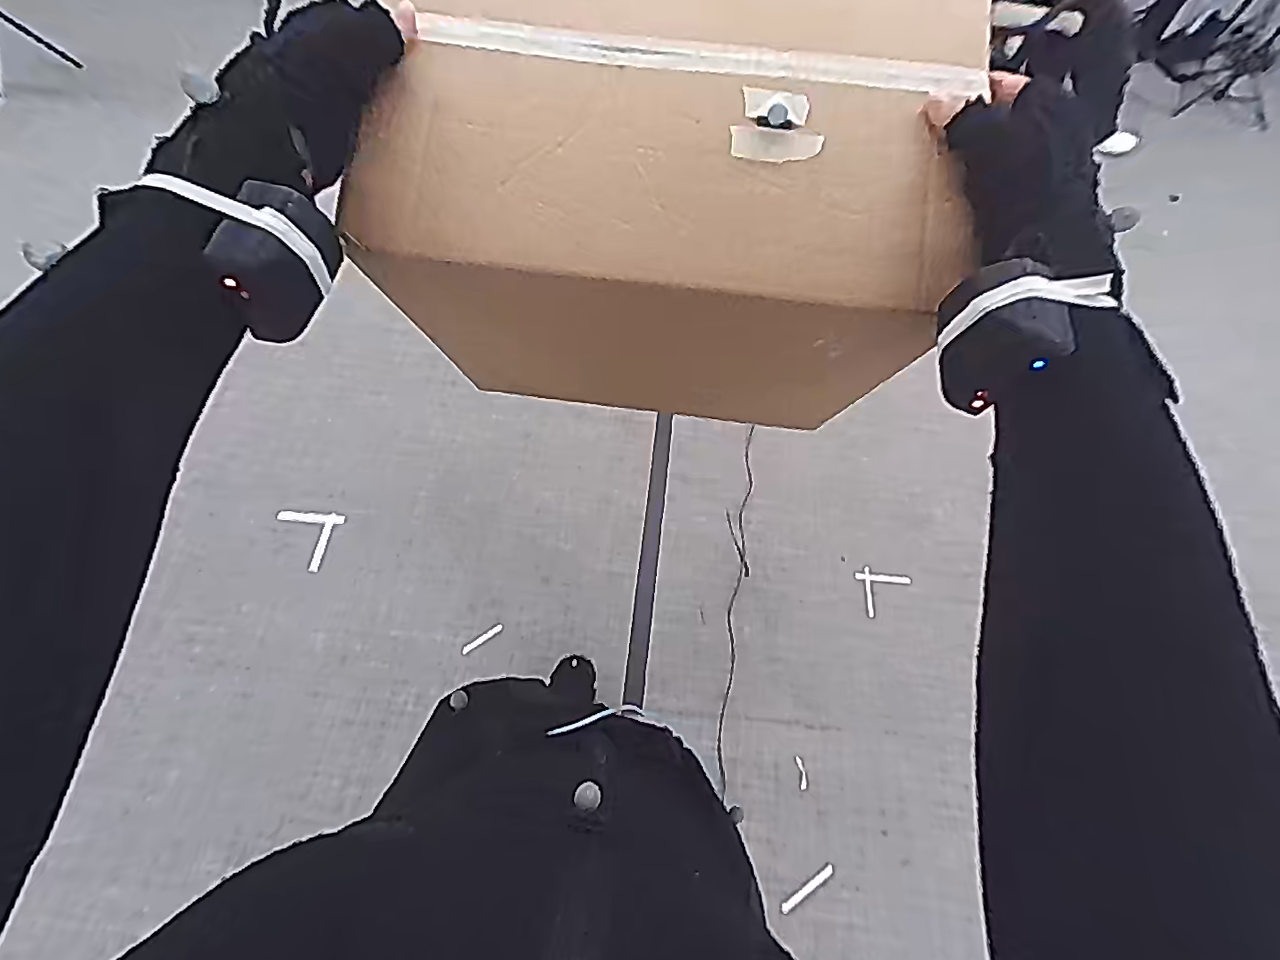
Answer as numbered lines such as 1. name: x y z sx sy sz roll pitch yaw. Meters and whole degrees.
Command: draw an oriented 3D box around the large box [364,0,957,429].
1. large box: 0.021 -0.250 0.530 0.408 0.320 0.320 6 82 0
